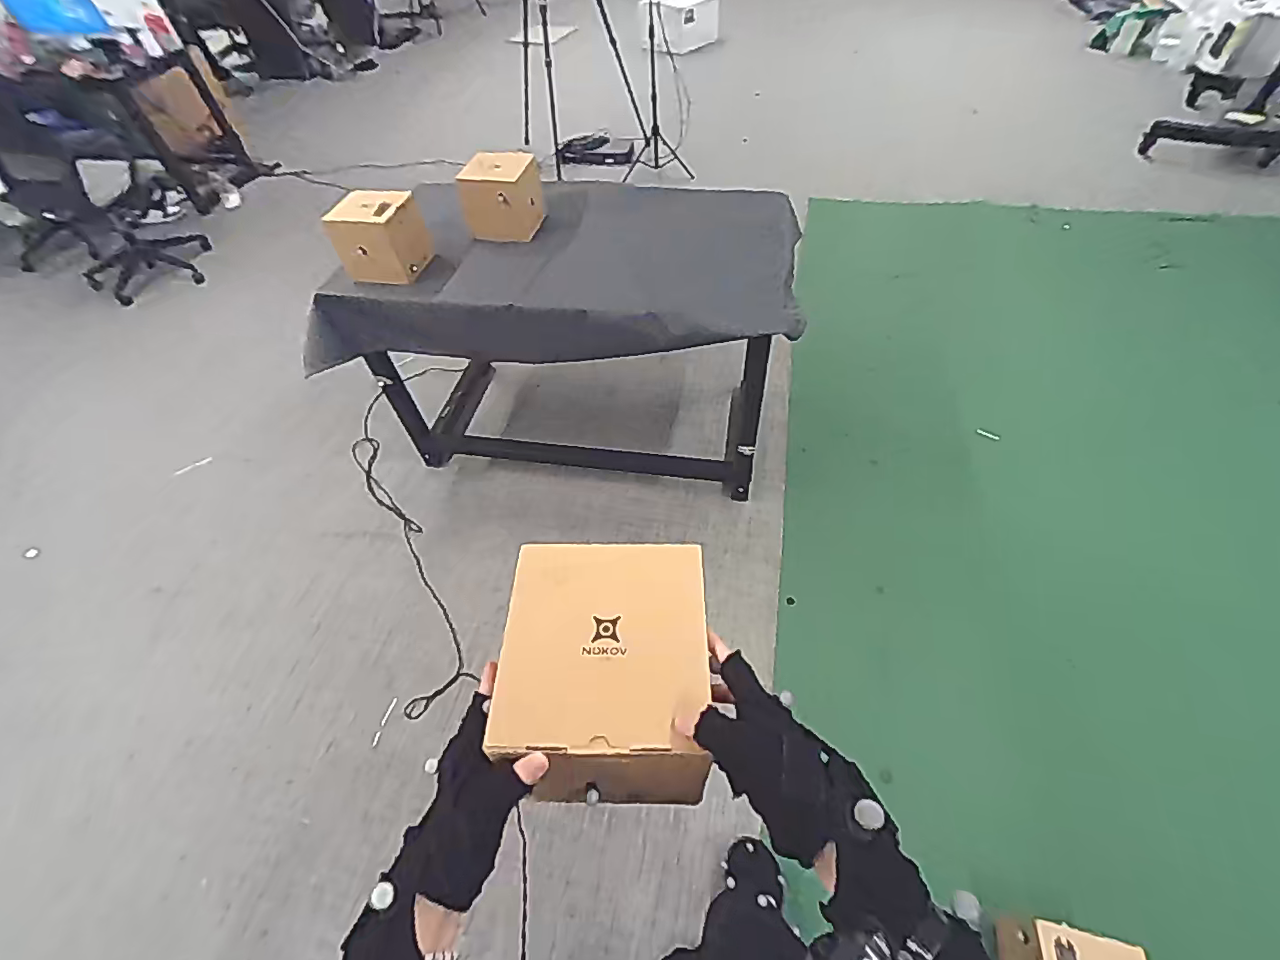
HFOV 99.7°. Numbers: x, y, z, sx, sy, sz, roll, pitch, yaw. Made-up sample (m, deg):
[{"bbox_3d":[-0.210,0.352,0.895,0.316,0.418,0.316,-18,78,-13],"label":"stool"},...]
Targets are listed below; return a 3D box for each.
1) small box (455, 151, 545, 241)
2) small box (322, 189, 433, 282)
[{"bbox_3d":[-0.380,-0.790,1.512,0.179,0.176,0.168,8,54,10],"label":"small box"},{"bbox_3d":[-0.672,-0.635,1.412,0.179,0.176,0.168,6,52,10],"label":"small box"}]
